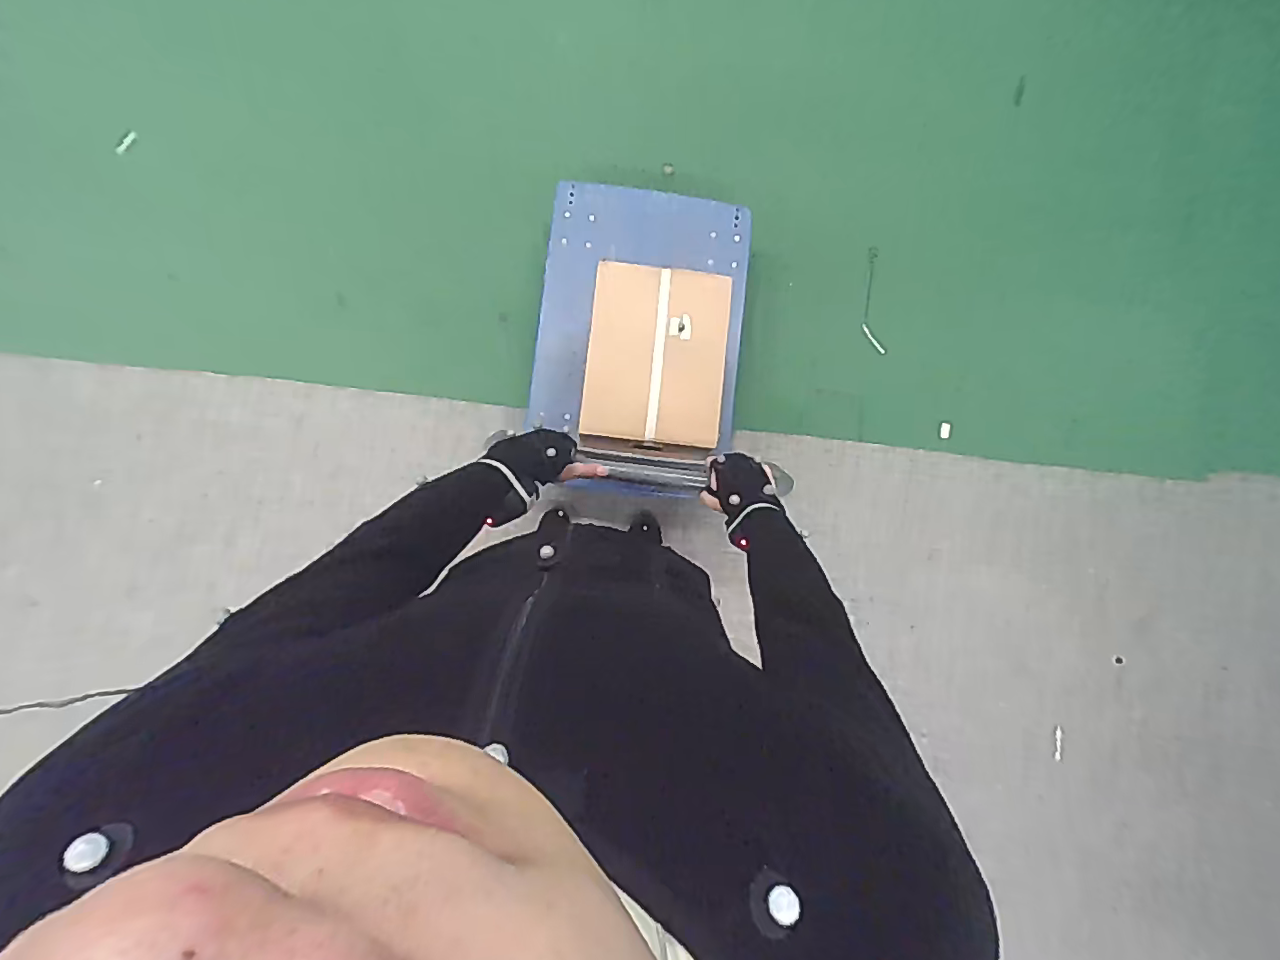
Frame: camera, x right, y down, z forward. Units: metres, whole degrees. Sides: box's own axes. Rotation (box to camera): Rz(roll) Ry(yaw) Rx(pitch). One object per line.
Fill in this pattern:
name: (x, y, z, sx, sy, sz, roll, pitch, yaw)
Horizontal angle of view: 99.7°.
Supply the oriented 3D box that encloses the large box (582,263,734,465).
large box: (0.036, -0.262, 1.349, 0.320, 0.320, 0.408, 7, 84, -4)
